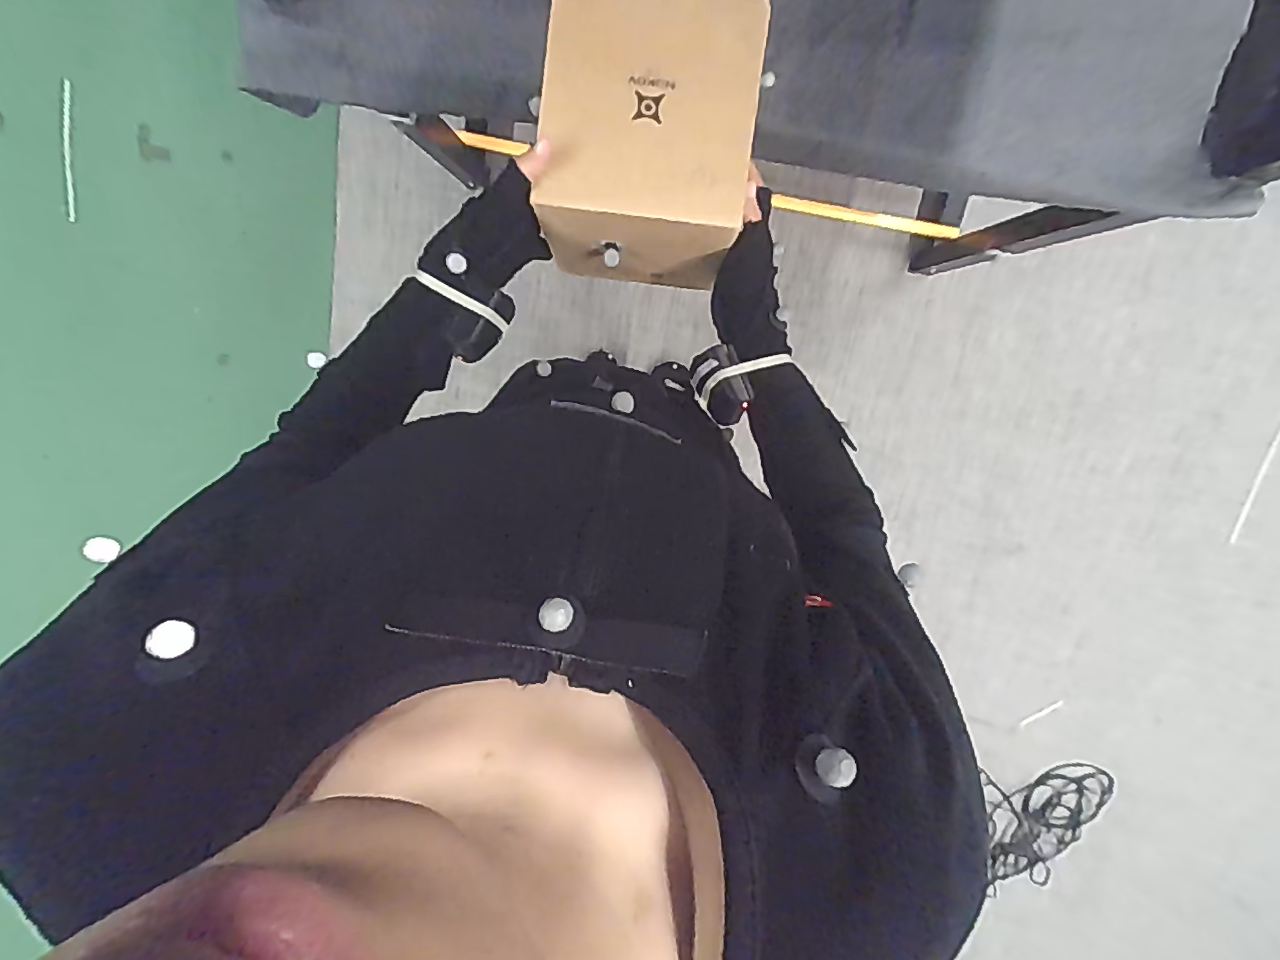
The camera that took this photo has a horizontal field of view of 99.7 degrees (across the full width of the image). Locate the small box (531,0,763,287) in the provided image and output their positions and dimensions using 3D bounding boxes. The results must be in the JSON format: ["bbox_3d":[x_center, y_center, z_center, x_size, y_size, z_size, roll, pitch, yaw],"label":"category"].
[{"bbox_3d":[0.005,-0.295,0.499,0.168,0.176,0.179,6,91,-1],"label":"small box"}]
